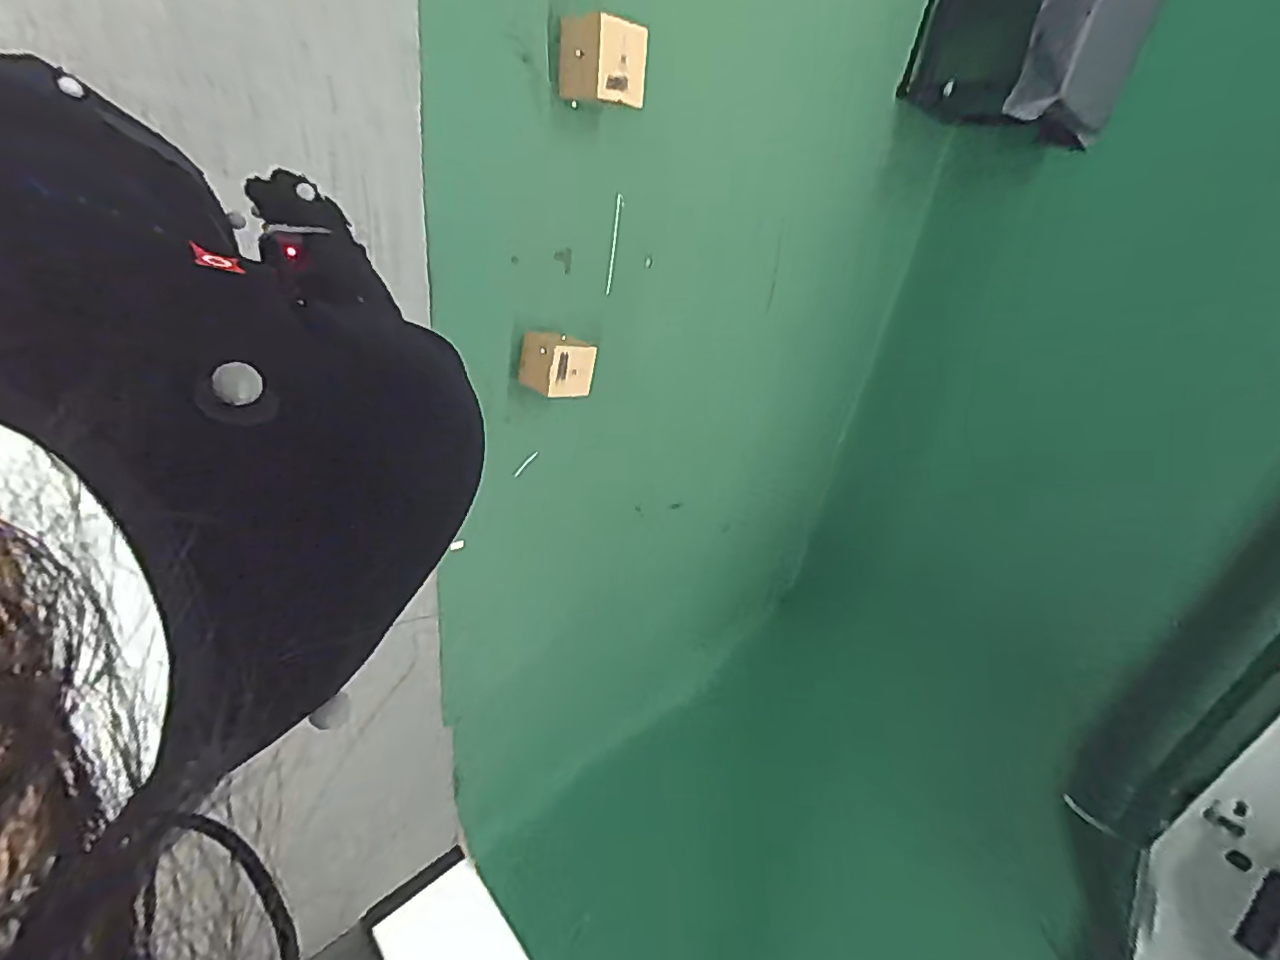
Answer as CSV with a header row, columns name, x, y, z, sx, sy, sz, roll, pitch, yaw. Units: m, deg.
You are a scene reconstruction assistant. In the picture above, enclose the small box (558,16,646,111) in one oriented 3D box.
name,x,y,z,sx,sy,sz,roll,pitch,yaw
small box,-0.108,-1.112,1.458,0.168,0.176,0.179,-21,128,-40
